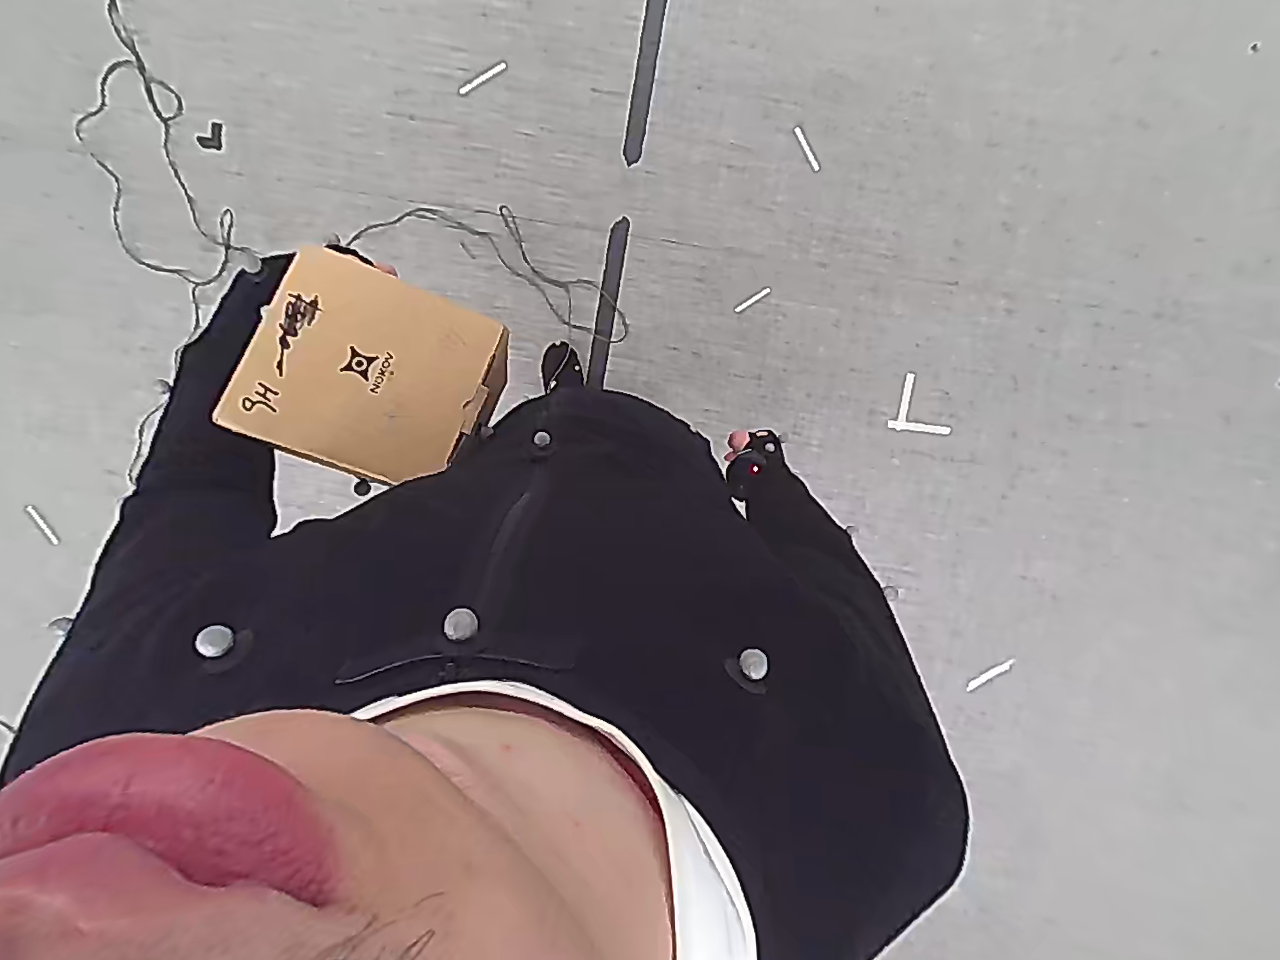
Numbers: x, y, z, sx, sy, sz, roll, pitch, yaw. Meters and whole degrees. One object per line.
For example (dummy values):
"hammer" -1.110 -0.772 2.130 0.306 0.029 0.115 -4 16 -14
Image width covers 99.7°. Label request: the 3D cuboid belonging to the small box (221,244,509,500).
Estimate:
"small box" -0.241 -0.084 0.526 0.179 0.176 0.168 21 78 -12
